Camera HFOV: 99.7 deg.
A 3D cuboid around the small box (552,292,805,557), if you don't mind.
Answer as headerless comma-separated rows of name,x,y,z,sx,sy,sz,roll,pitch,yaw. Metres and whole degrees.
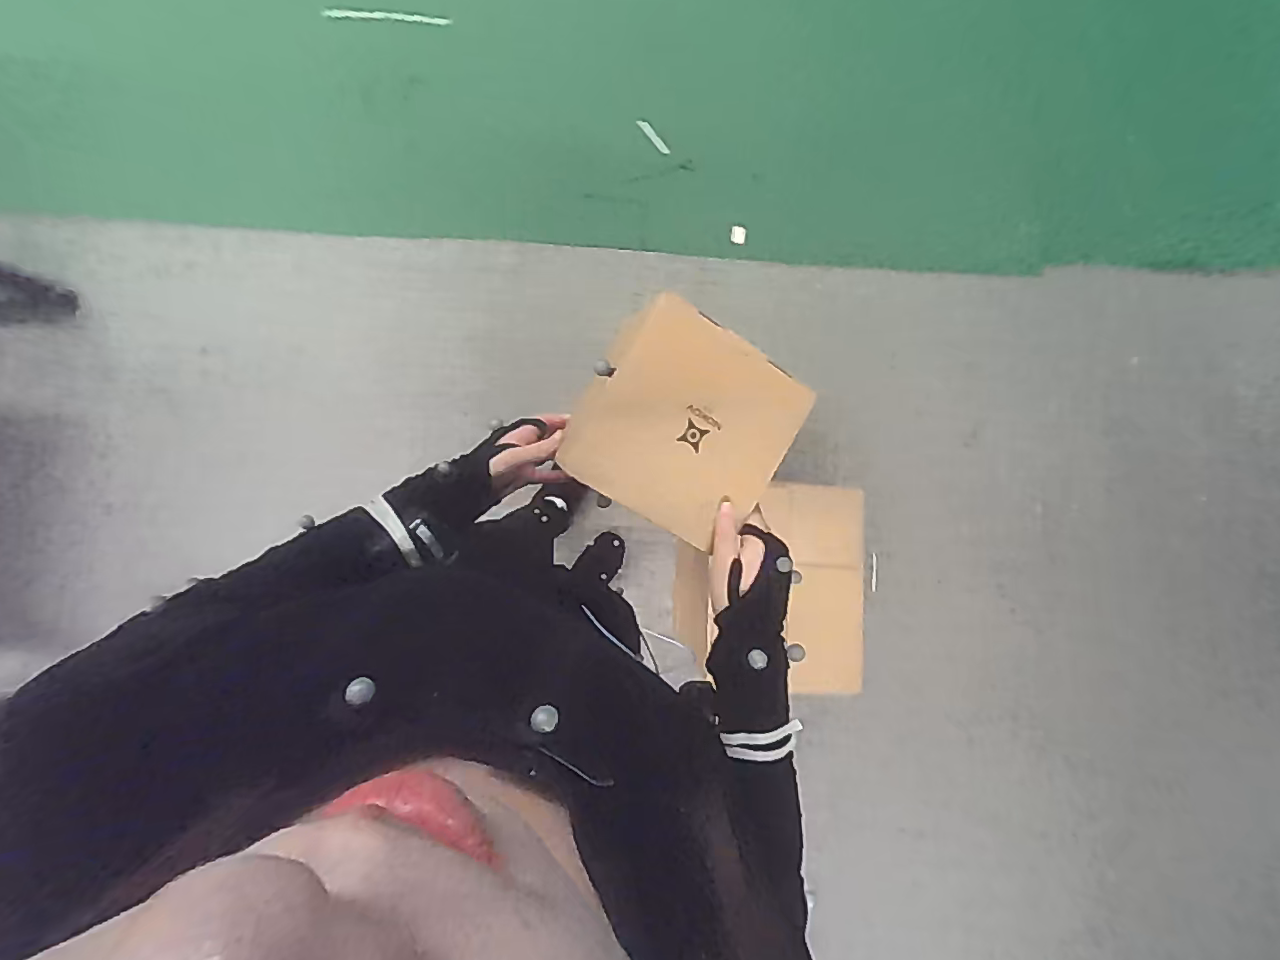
small box,0.022,-0.053,0.542,0.168,0.176,0.179,30,90,-16
